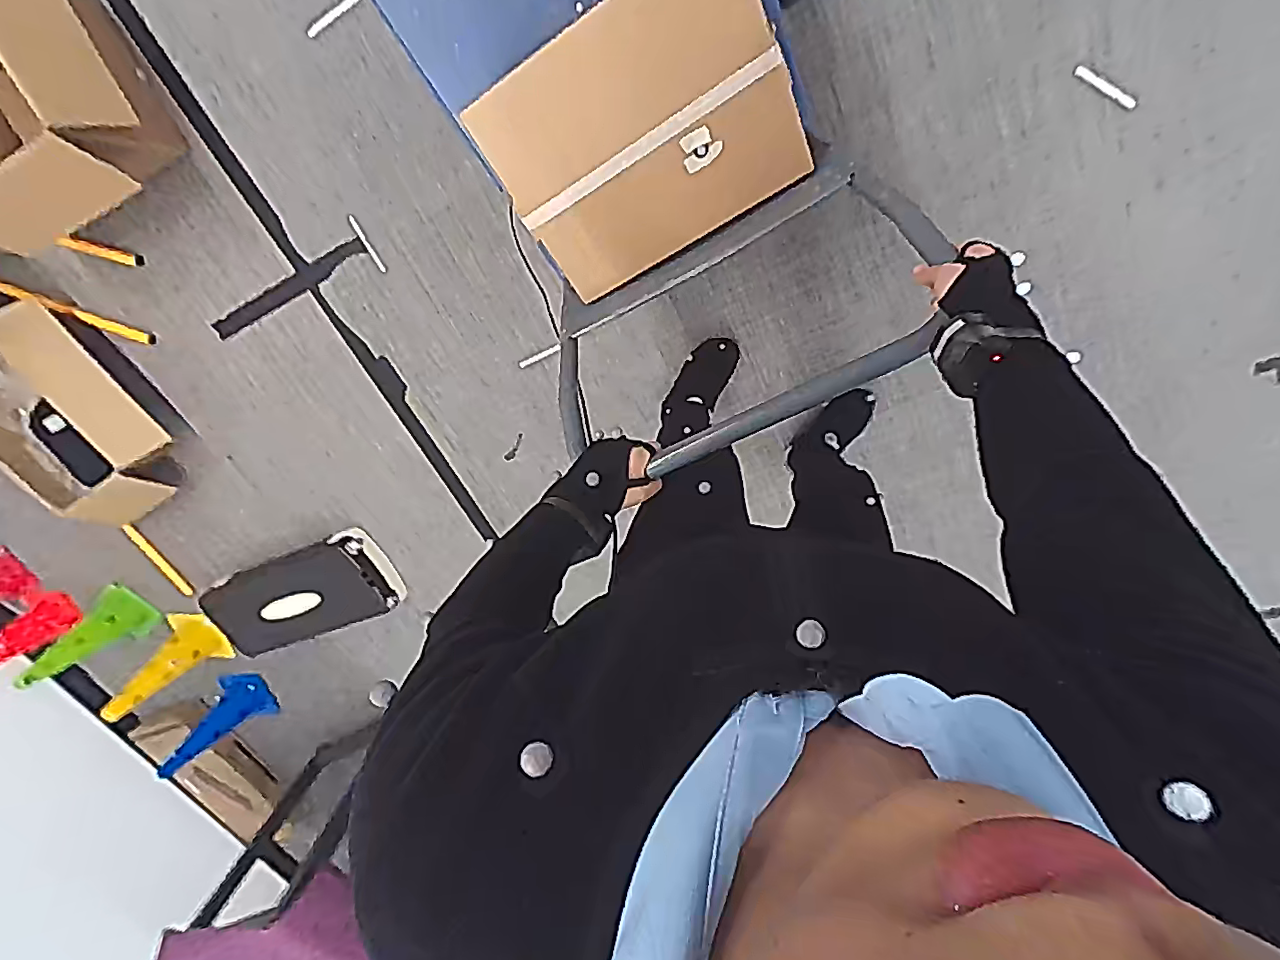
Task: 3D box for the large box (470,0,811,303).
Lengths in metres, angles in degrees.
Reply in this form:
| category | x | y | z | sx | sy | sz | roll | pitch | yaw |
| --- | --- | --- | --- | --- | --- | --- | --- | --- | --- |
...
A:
| category | x | y | z | sx | sy | sz | roll | pitch | yaw |
| --- | --- | --- | --- | --- | --- | --- | --- | --- | --- |
| large box | -0.001 | -0.571 | 0.881 | 0.408 | 0.320 | 0.320 | -26 | 128 | 17 |
